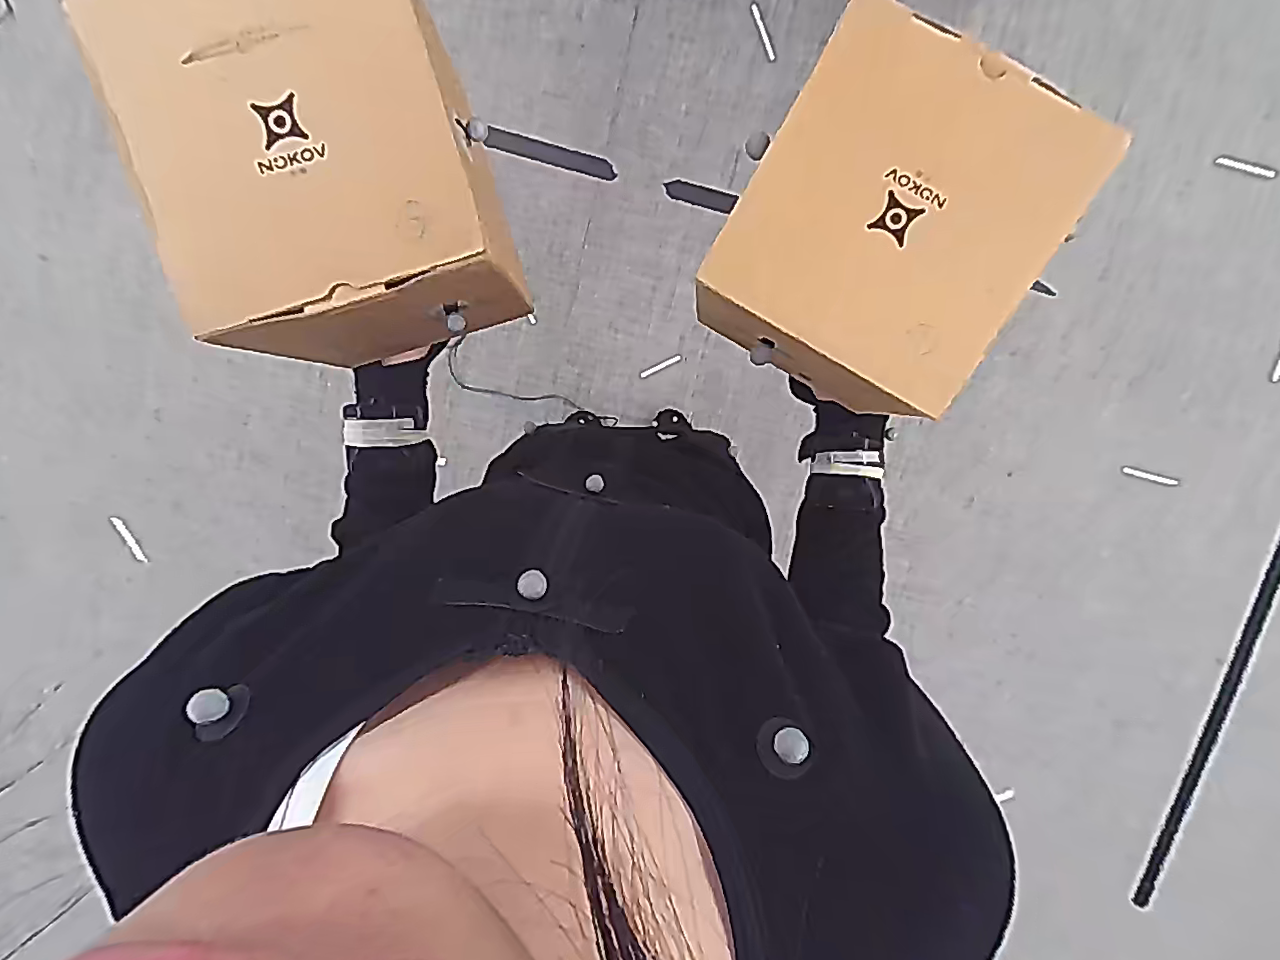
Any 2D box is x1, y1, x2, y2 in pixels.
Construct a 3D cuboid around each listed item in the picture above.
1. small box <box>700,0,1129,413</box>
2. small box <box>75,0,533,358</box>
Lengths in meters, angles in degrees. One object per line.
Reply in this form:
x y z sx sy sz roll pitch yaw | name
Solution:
0.157 -0.161 0.380 0.168 0.176 0.179 31 99 2 | small box
-0.181 -0.188 0.357 0.168 0.176 0.179 -18 96 -1 | small box
